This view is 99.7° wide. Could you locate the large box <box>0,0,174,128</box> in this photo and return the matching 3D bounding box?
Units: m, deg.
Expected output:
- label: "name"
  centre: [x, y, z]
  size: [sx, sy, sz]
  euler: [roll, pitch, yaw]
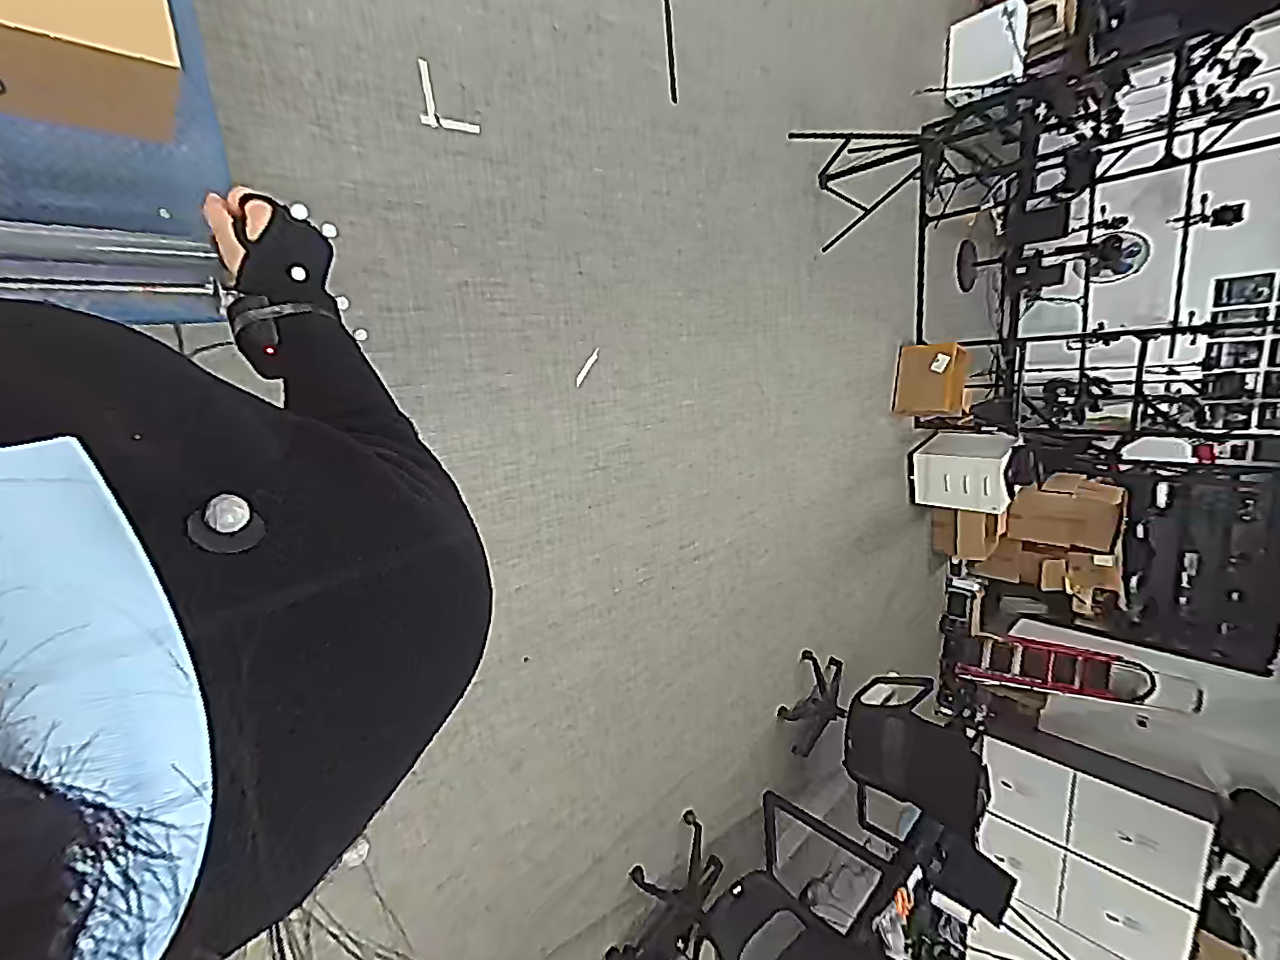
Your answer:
- label: "large box"
  centre: [-0.916, -0.724, 0.714]
  size: [0.408, 0.320, 0.320]
  euler: [-14, 105, -41]
